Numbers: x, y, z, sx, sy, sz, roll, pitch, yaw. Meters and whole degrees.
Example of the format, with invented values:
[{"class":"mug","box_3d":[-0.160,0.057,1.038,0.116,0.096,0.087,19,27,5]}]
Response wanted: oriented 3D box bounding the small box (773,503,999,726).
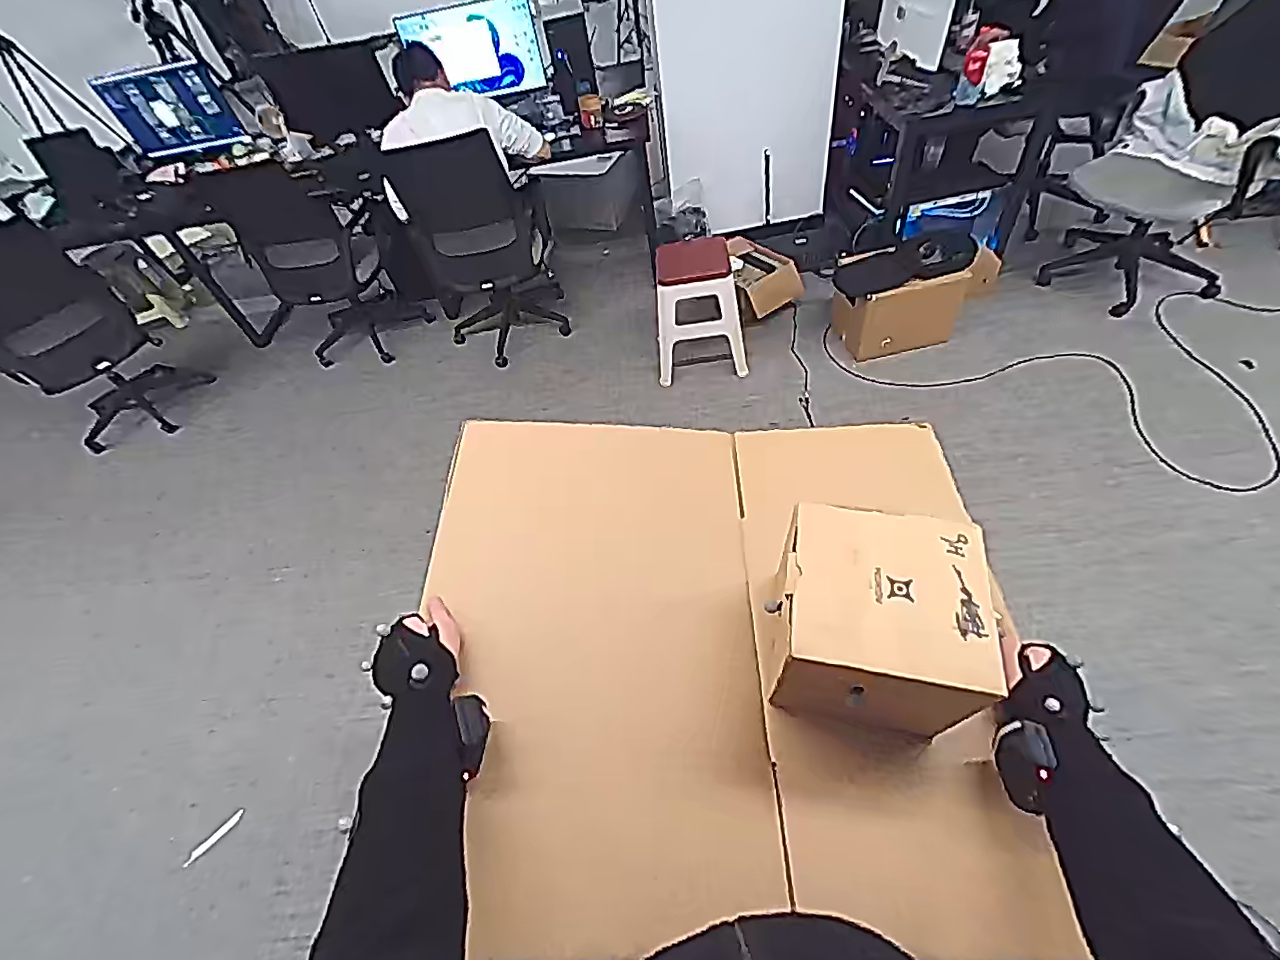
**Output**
[{"class":"small box","box_3d":[0.239,0.145,0.571,0.179,0.176,0.168,7,56,12]}]
